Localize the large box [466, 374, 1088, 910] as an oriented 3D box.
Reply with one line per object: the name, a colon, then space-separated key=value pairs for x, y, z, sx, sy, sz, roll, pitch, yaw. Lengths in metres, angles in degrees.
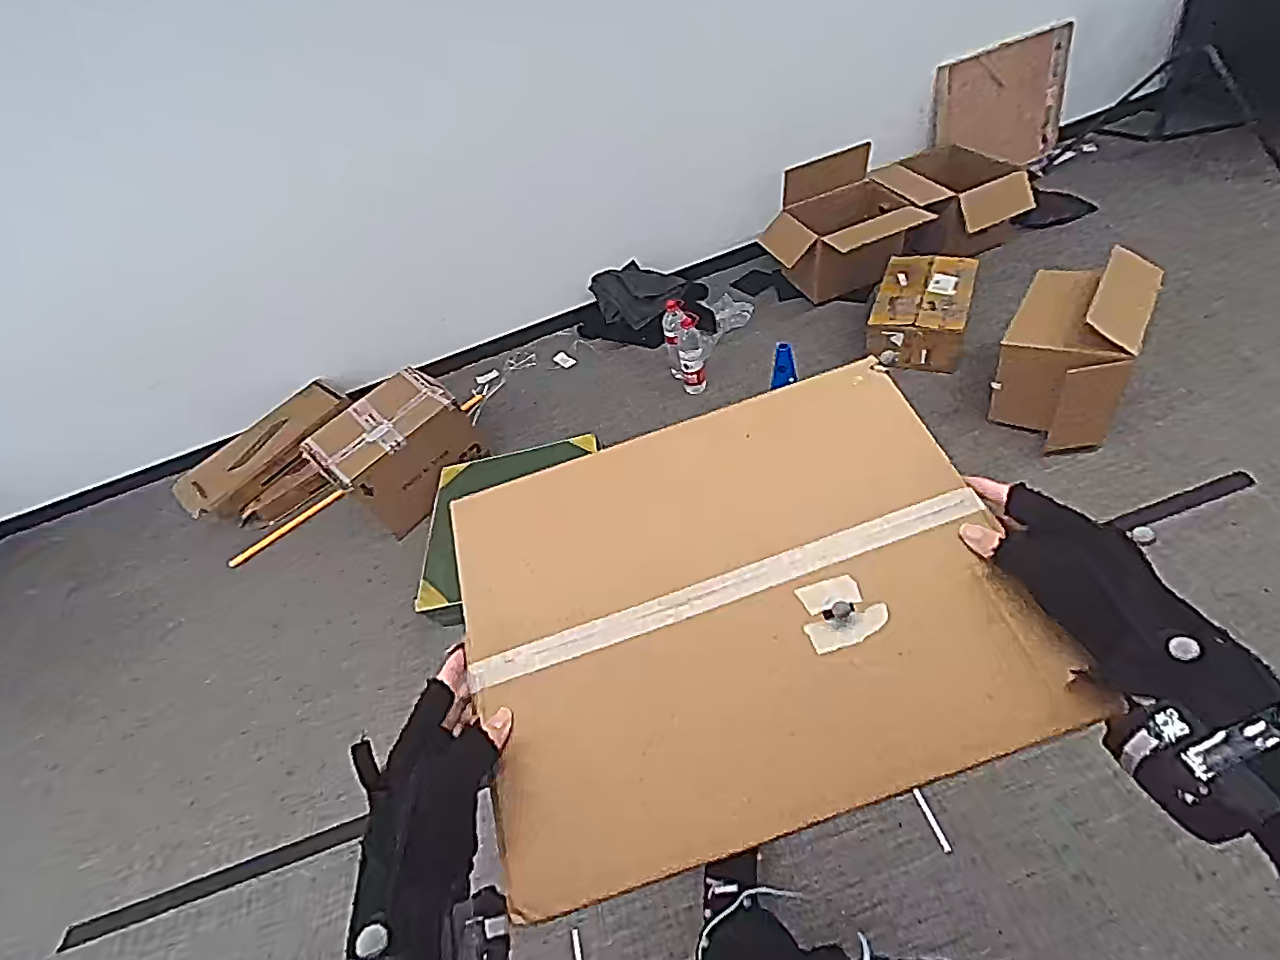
large box: x=0.090 y=0.161 z=0.555 sx=0.408 sy=0.320 sz=0.320 roll=-19 pitch=61 yaw=-1
